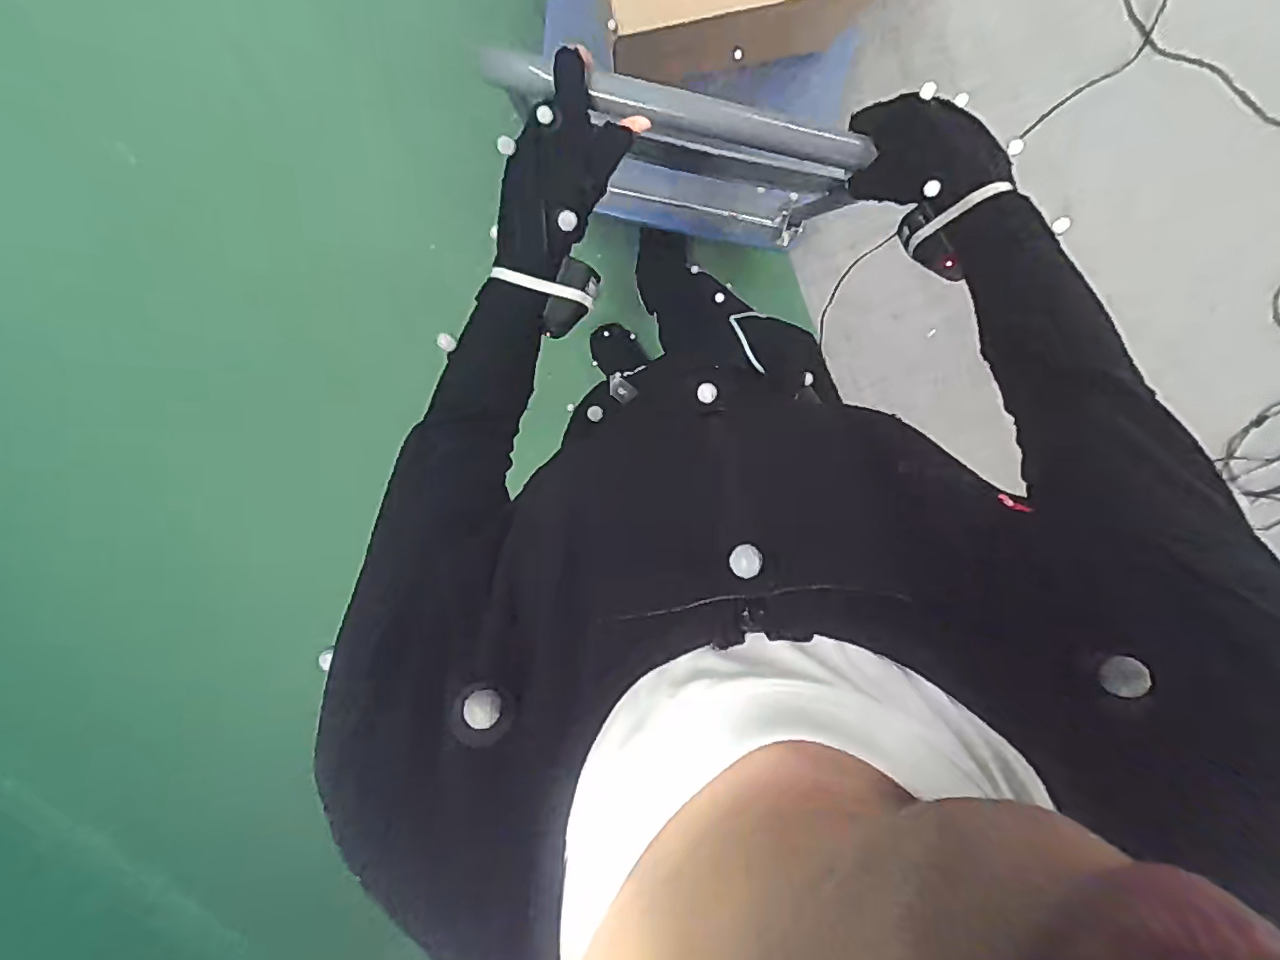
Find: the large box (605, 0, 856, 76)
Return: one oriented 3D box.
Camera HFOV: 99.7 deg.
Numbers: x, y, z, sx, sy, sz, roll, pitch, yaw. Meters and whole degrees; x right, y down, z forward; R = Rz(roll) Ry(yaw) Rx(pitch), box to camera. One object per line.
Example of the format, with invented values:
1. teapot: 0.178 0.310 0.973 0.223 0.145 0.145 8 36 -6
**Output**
1. large box: 0.131 -0.865 0.812 0.408 0.320 0.320 -10 114 3
